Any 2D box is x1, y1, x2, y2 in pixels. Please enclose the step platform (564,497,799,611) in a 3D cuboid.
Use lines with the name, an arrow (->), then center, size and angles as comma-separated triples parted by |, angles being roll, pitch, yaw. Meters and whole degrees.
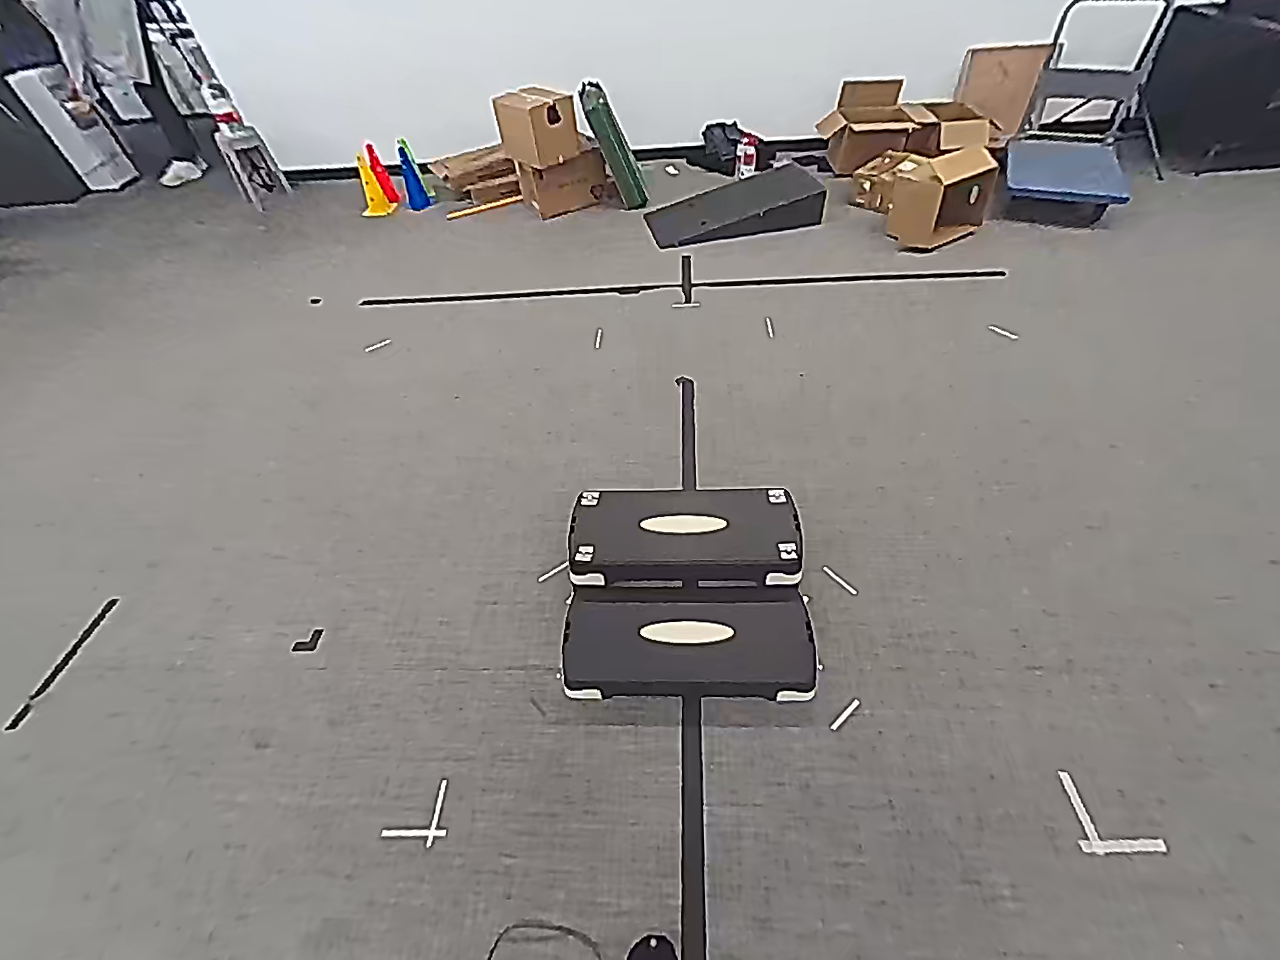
step platform -> 0.117, 0.214, 1.611 | 0.684, 0.204, 0.286 | -1, 49, 3
